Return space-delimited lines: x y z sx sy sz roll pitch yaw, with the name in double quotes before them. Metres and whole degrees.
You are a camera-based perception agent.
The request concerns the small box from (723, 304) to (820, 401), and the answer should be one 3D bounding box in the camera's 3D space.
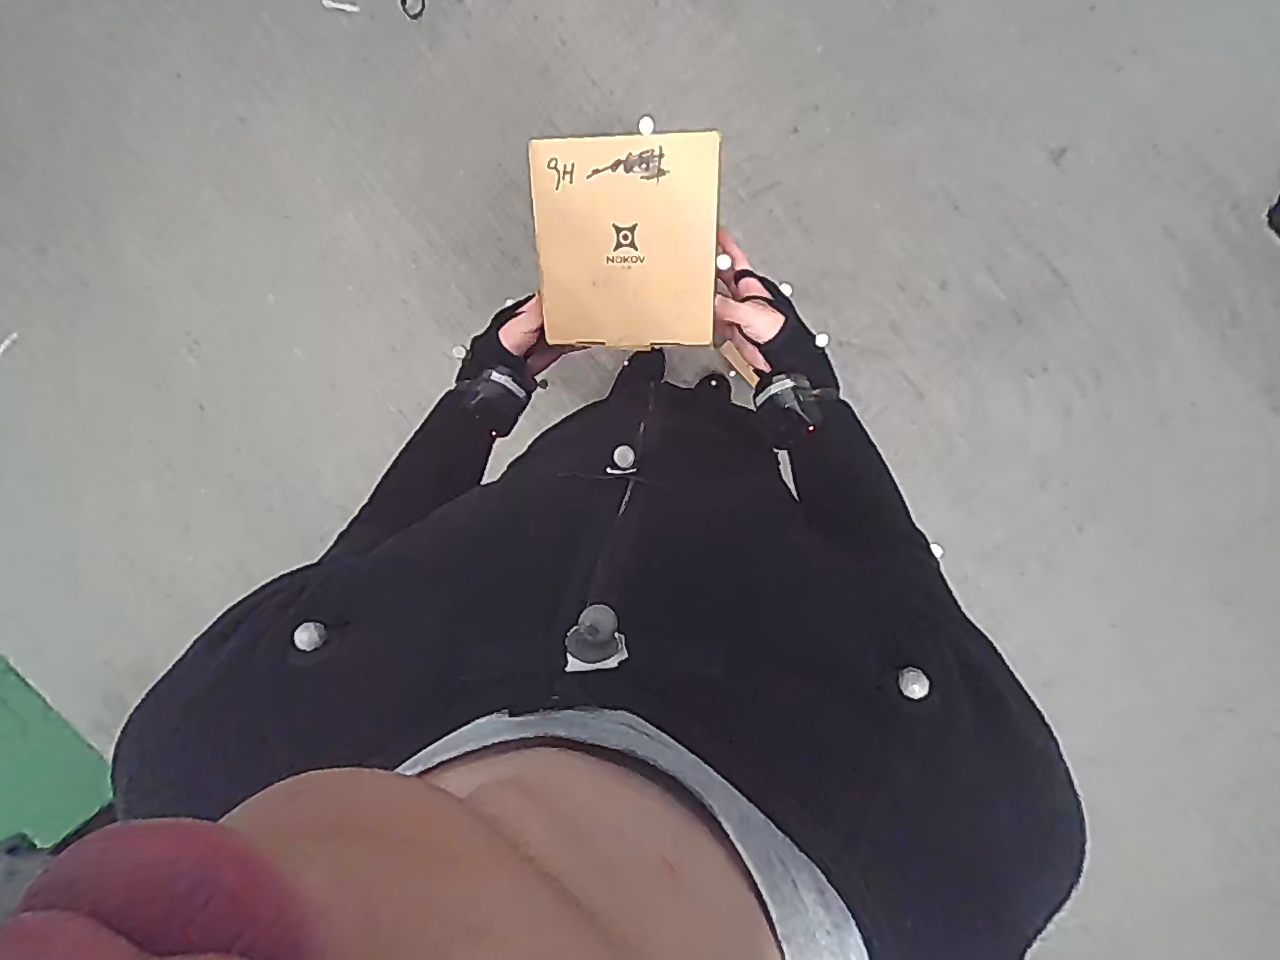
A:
"small box" 0.327 -0.326 1.389 0.179 0.176 0.168 -42 95 13
